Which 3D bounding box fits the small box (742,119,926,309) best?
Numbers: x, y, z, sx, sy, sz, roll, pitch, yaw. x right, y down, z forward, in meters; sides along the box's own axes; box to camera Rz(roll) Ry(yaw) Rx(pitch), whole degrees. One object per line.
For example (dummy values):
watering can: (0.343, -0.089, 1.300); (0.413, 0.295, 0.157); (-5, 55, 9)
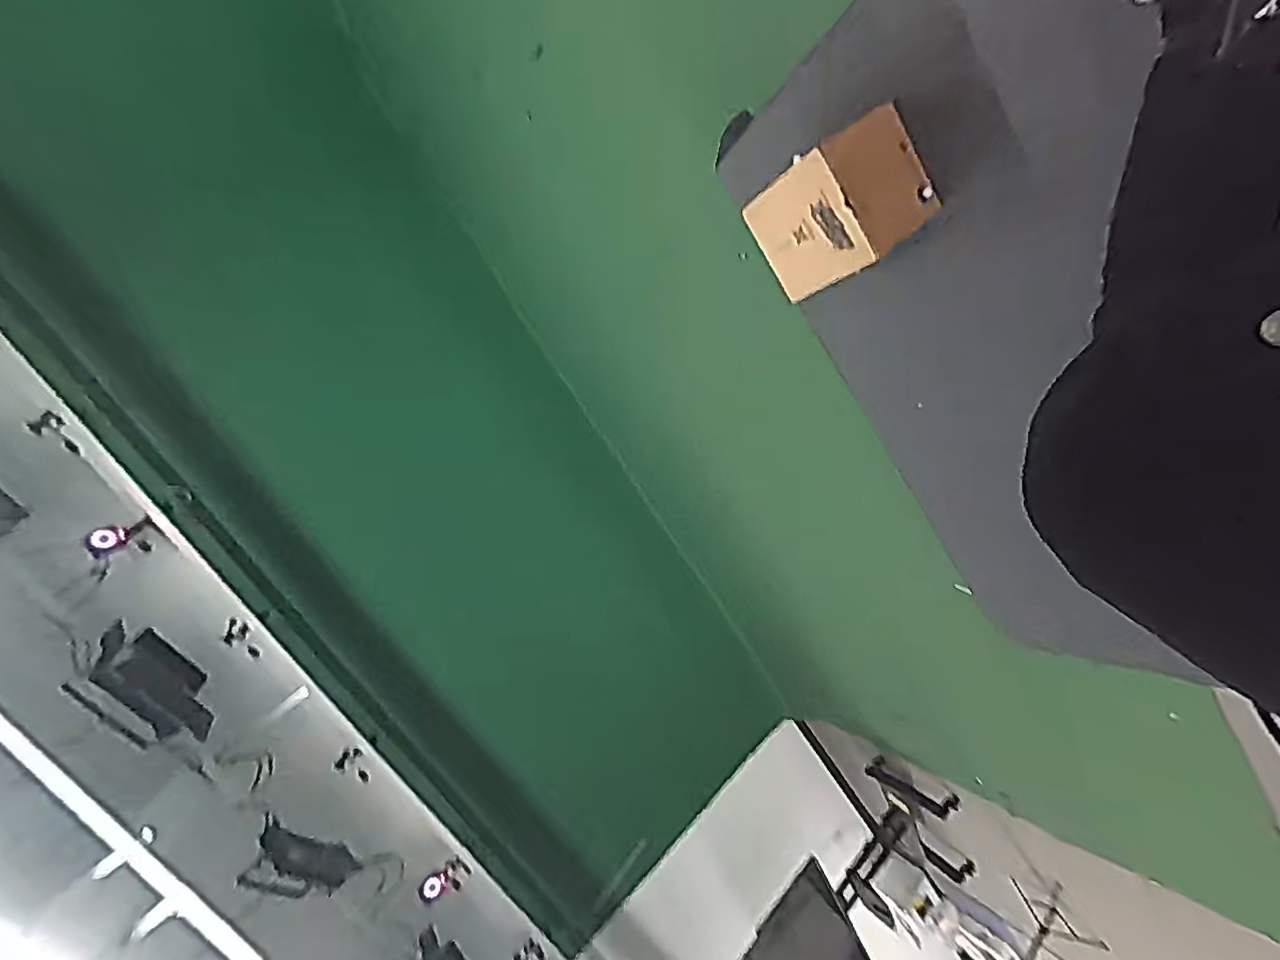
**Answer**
small box: (0.296, -0.396, 0.817); (0.168, 0.176, 0.179); (55, 159, -11)
